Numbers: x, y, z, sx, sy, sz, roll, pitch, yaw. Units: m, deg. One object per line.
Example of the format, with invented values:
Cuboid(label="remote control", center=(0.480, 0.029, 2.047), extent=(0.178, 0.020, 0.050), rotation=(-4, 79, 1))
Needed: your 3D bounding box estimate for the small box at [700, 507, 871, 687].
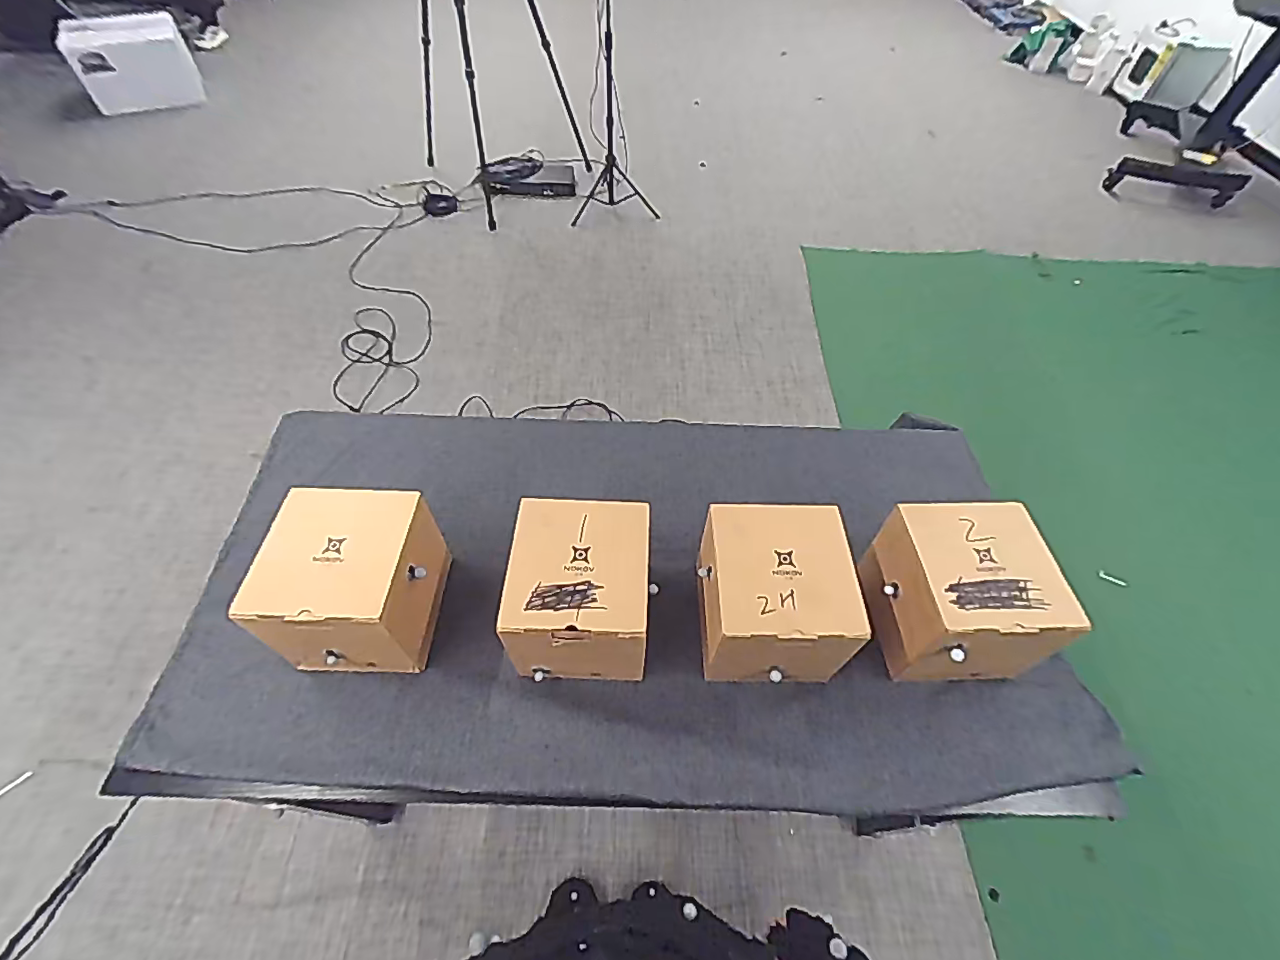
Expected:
Cuboid(label="small box", center=(0.171, 0.154, 0.703), extent=(0.168, 0.176, 0.179), rotation=(0, 53, 0))

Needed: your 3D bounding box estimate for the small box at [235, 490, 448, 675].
Cuboid(label="small box", center=(-0.360, 0.134, 0.697), extent=(0.168, 0.176, 0.179), rotation=(2, 52, -2))

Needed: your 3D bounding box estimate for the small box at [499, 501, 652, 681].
Cuboid(label="small box", center=(-0.071, 0.148, 0.698), extent=(0.168, 0.176, 0.179), rotation=(3, 52, 0))
